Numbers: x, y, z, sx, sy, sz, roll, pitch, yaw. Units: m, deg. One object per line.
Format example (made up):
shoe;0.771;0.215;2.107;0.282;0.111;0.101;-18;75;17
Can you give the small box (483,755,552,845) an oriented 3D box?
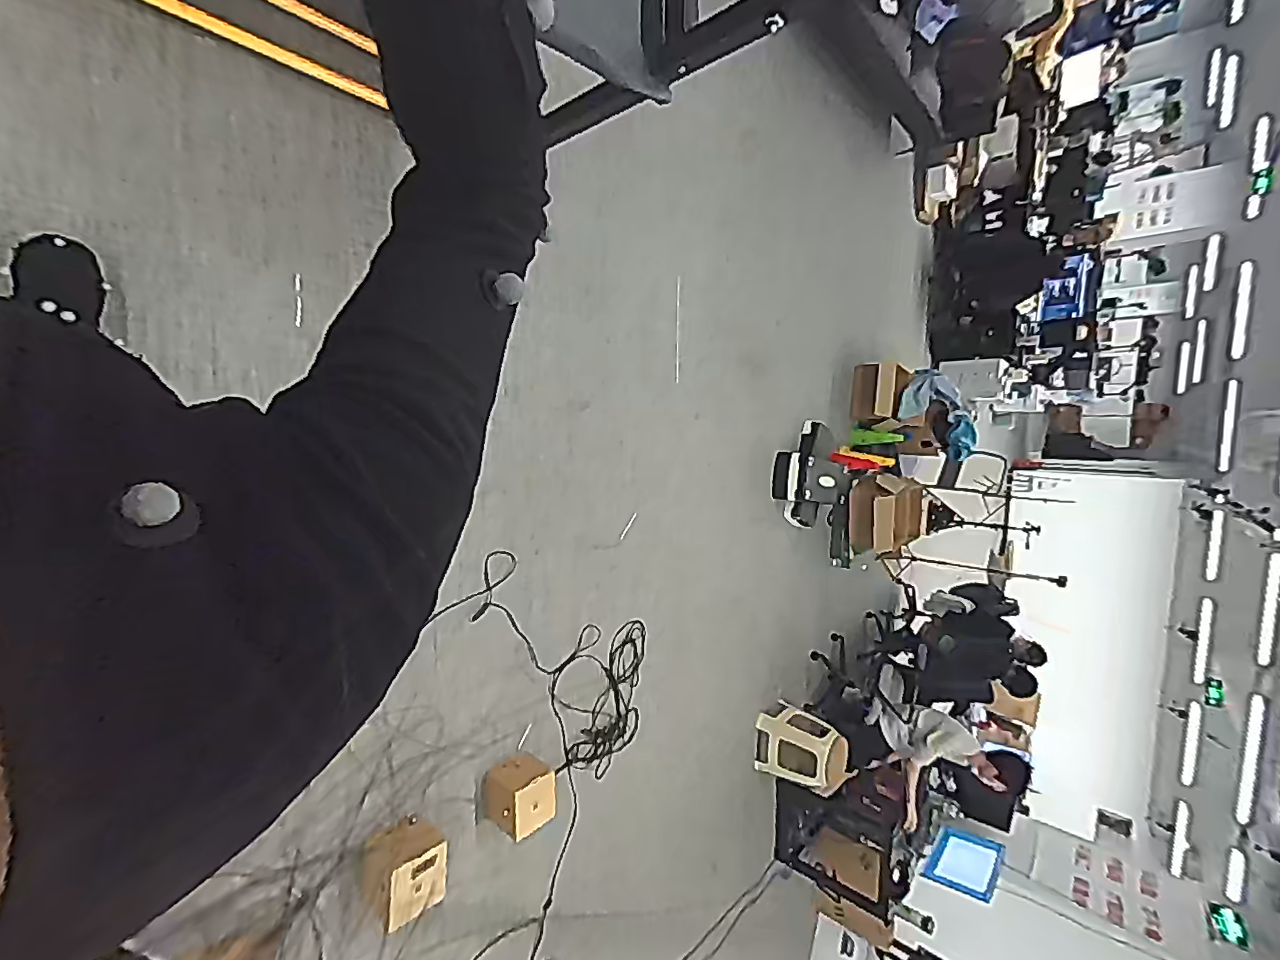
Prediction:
small box;-0.418;1.081;1.841;0.168;0.176;0.179;-7;99;-49

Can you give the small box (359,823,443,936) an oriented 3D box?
small box;-0.681;1.116;1.536;0.168;0.176;0.179;1;94;-50
